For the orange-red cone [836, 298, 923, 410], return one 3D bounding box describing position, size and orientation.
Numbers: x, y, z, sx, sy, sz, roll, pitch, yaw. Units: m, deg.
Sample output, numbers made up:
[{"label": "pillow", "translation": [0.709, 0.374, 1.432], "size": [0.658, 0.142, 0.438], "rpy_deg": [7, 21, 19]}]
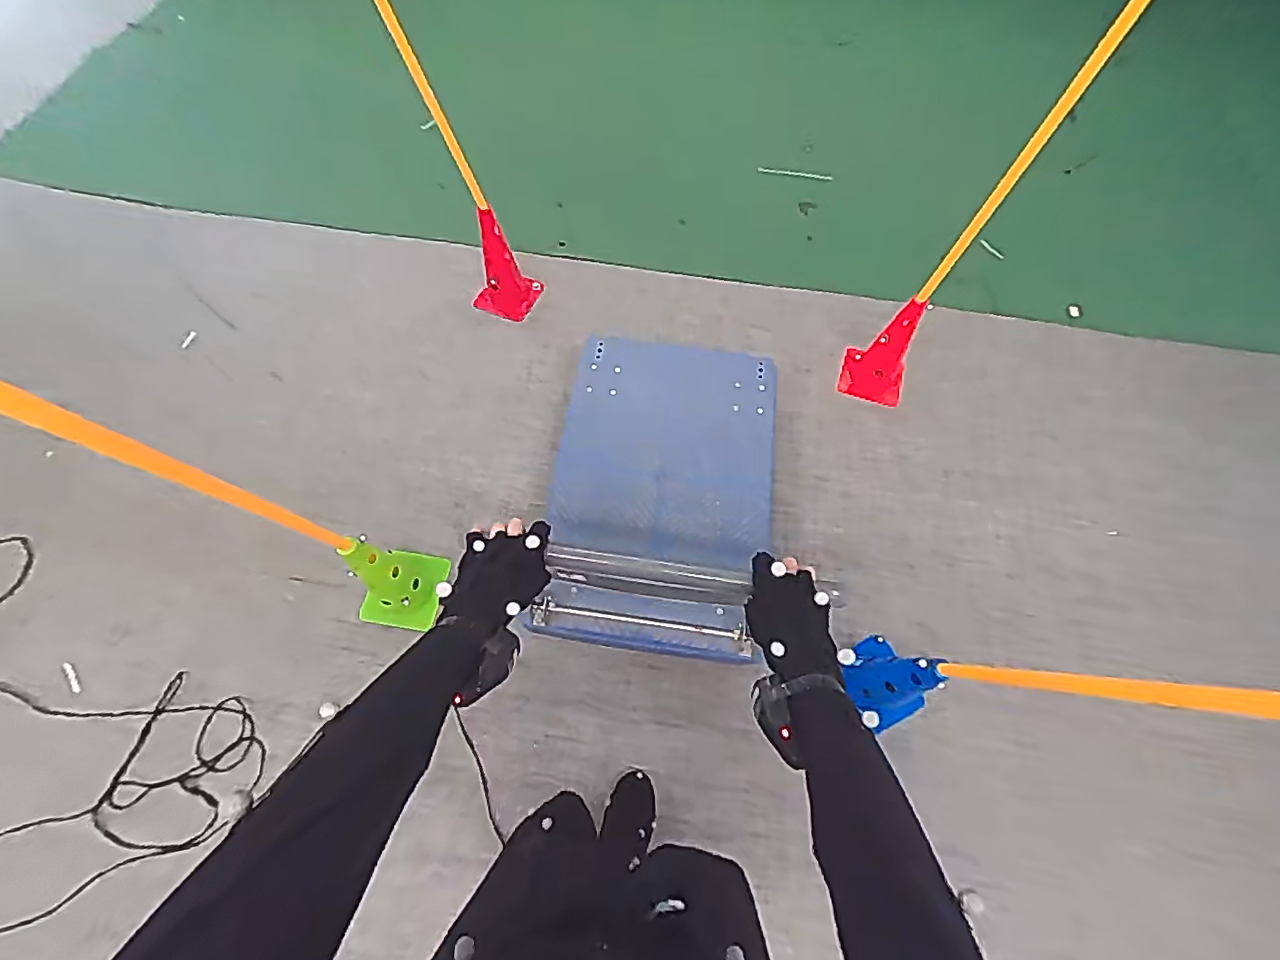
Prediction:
[{"label": "orange-red cone", "translation": [0.763, -0.406, 1.640], "size": [0.198, 0.360, 0.199], "rpy_deg": [19, 66, 10]}]
